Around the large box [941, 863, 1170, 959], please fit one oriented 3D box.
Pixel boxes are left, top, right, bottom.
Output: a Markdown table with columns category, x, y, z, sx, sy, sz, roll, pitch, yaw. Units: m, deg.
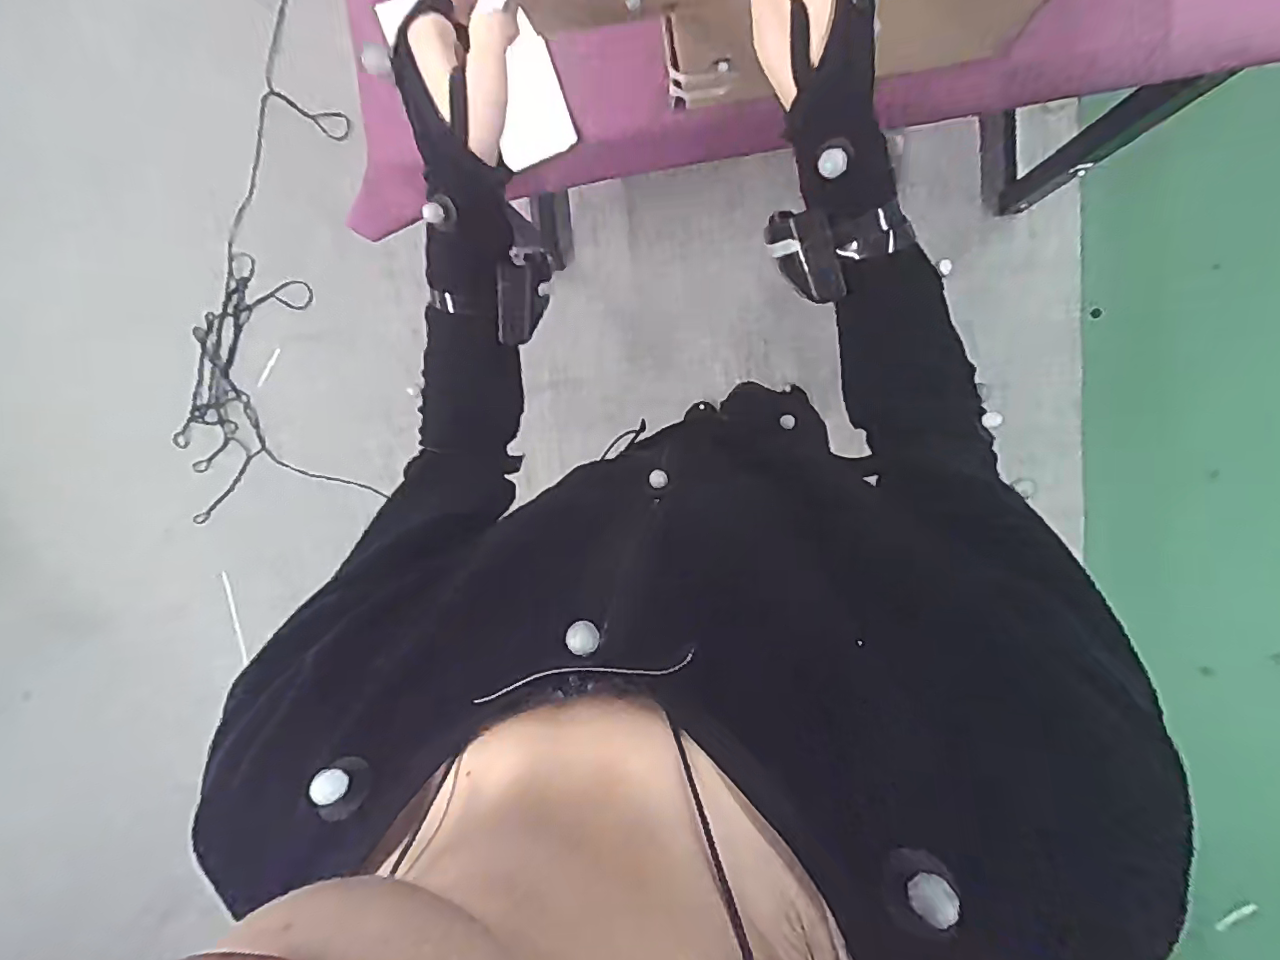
| category | x | y | z | sx | sy | sz | roll | pitch | yaw |
| --- | --- | --- | --- | --- | --- | --- | --- | --- | --- |
| large box | 1.063 | 1.256 | 1.361 | 0.408 | 0.320 | 0.320 | -20 | 95 | 10 |

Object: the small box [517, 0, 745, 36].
| category | x | y | z | sx | sy | sz | roll | pitch | yaw |
| --- | --- | --- | --- | --- | --- | --- | --- | --- | --- |
| small box | -0.010 | -0.387 | 0.305 | 0.168 | 0.176 | 0.179 | -7 | 114 | 4 |
